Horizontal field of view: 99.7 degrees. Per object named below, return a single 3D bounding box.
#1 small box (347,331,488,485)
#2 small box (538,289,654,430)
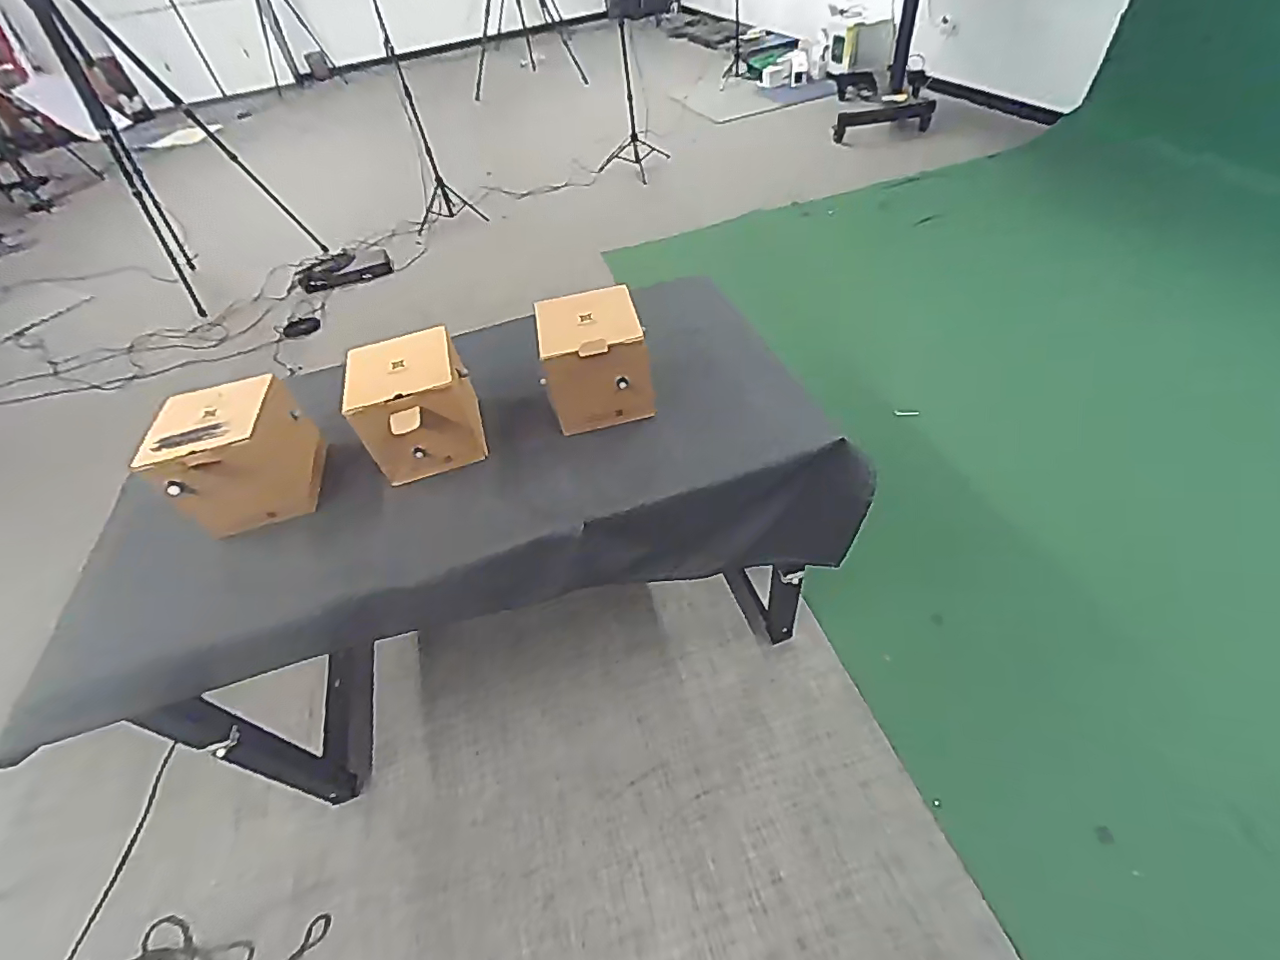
[{"bbox_3d":[-0.369,-0.122,0.919,0.168,0.176,0.179,-17,48,-7],"label":"small box"},{"bbox_3d":[-0.075,-0.203,0.945,0.168,0.176,0.179,-12,46,-3],"label":"small box"}]
